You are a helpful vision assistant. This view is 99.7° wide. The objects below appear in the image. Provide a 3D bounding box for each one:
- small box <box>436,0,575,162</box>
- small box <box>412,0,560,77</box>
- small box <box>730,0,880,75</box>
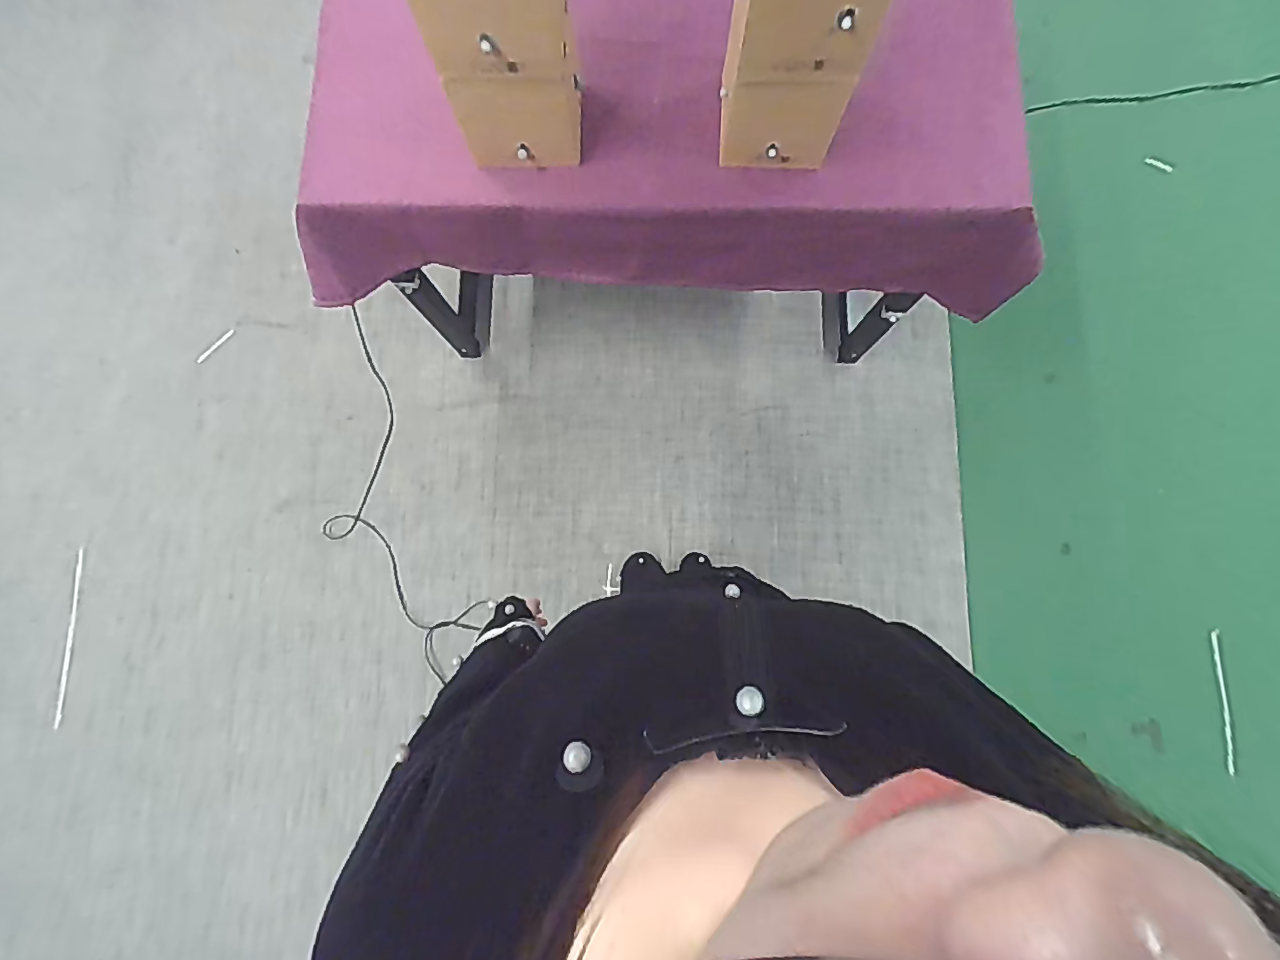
[{"bbox_3d":[-0.194,-0.619,0.830,0.179,0.176,0.168,-1,81,0],"label":"small box"},{"bbox_3d":[-0.195,-0.648,0.667,0.168,0.176,0.179,1,82,1],"label":"small box"},{"bbox_3d":[0.206,-0.639,0.662,0.168,0.176,0.179,1,82,1],"label":"small box"}]
